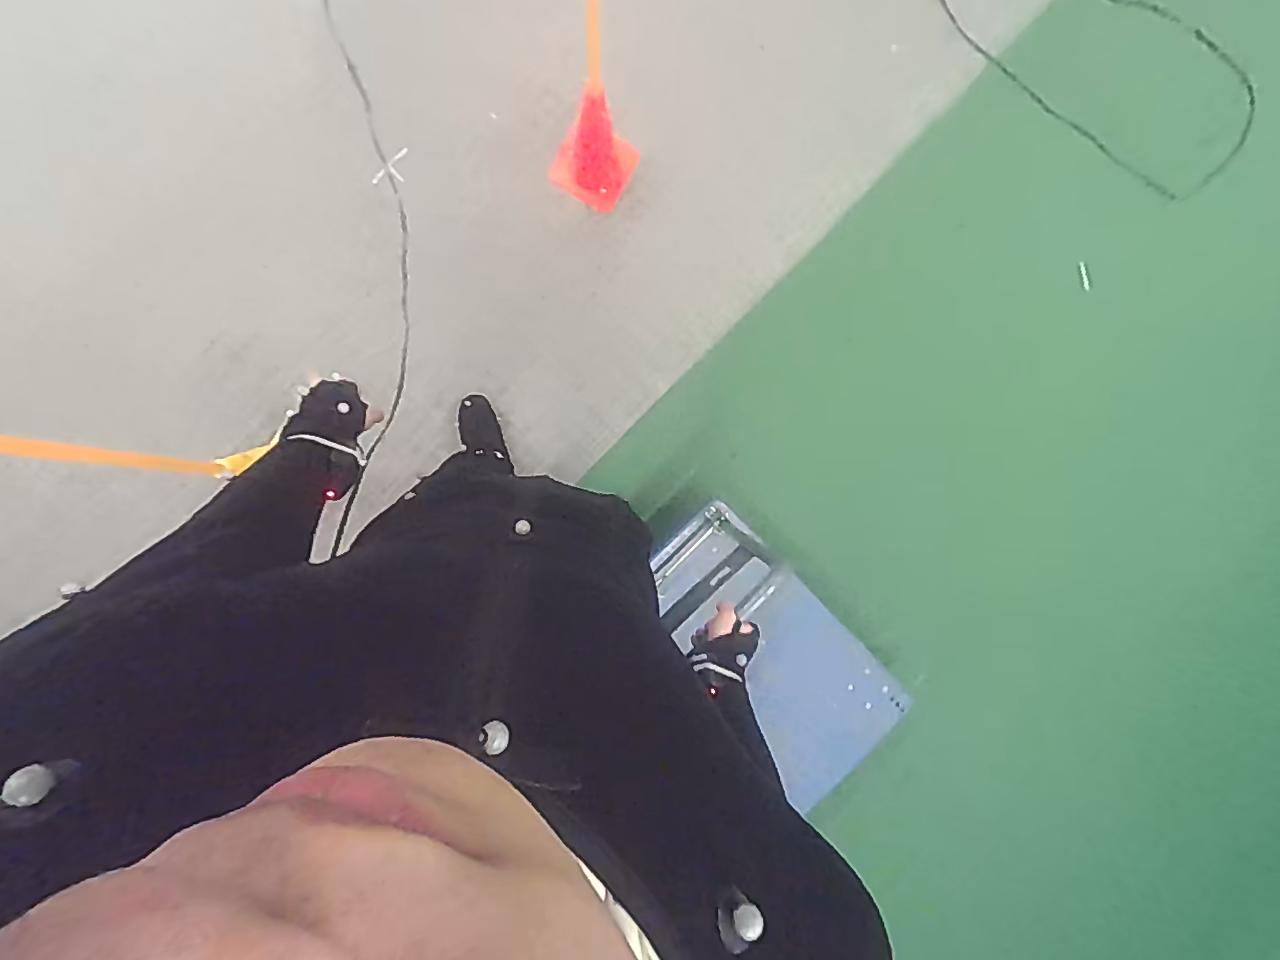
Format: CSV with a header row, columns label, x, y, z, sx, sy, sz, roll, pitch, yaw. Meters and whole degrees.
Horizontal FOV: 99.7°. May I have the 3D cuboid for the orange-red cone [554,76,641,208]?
label,x,y,z,sx,sy,sz,roll,pitch,yaw
orange-red cone,-0.103,-0.888,1.364,0.198,0.360,0.199,30,91,-7
